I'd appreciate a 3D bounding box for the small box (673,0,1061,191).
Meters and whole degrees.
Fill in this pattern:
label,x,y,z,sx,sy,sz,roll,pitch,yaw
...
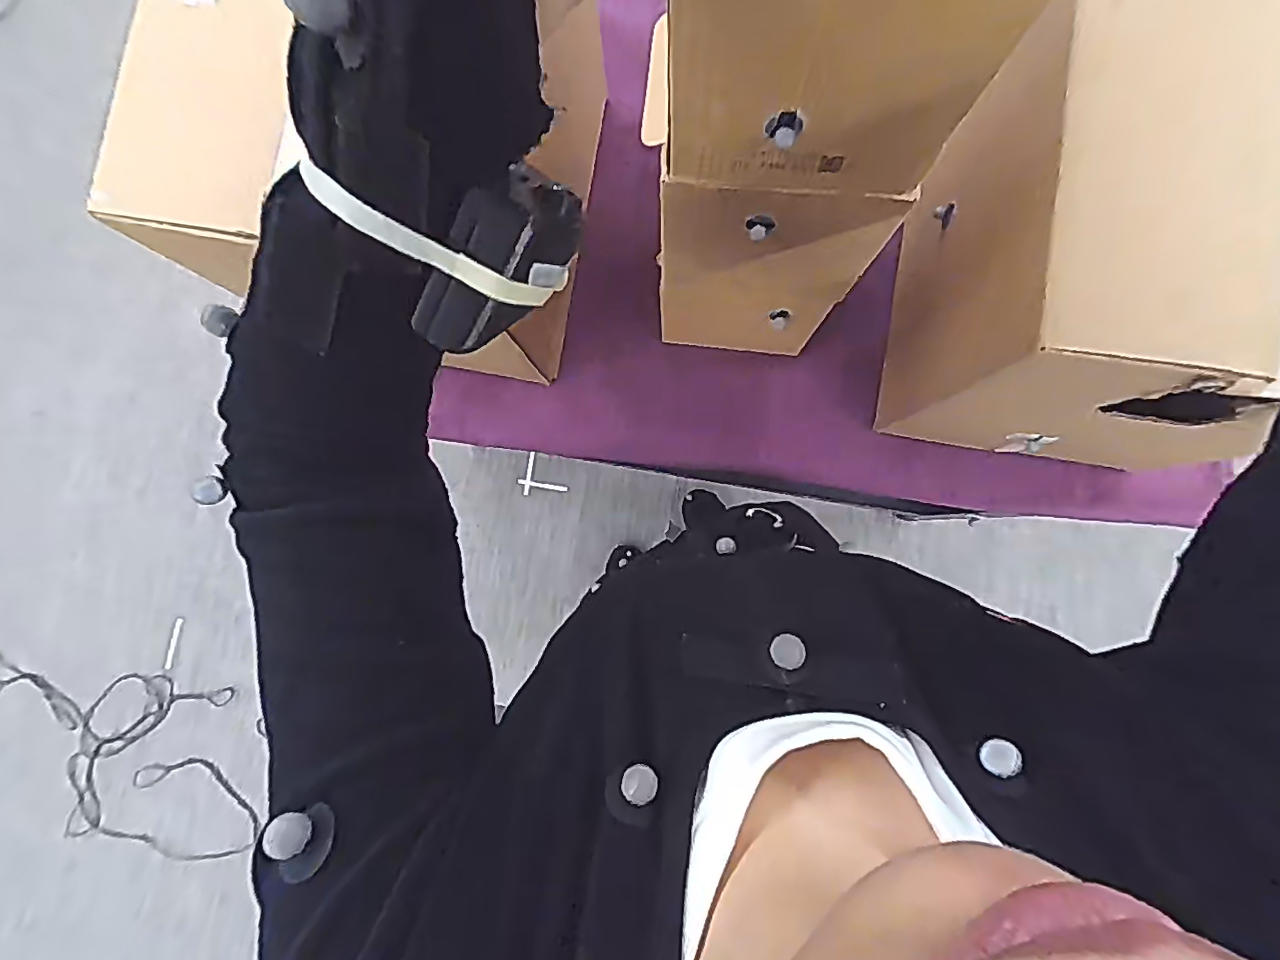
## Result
label,x,y,z,sx,sy,sz,roll,pitch,yaw
small box,0.106,-0.289,0.284,0.168,0.176,0.179,5,86,3

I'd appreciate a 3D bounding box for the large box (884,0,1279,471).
label,x,y,z,sx,sy,sz,roll,pitch,yaw
large box,0.461,-0.239,0.519,0.320,0.320,0.408,9,84,4
